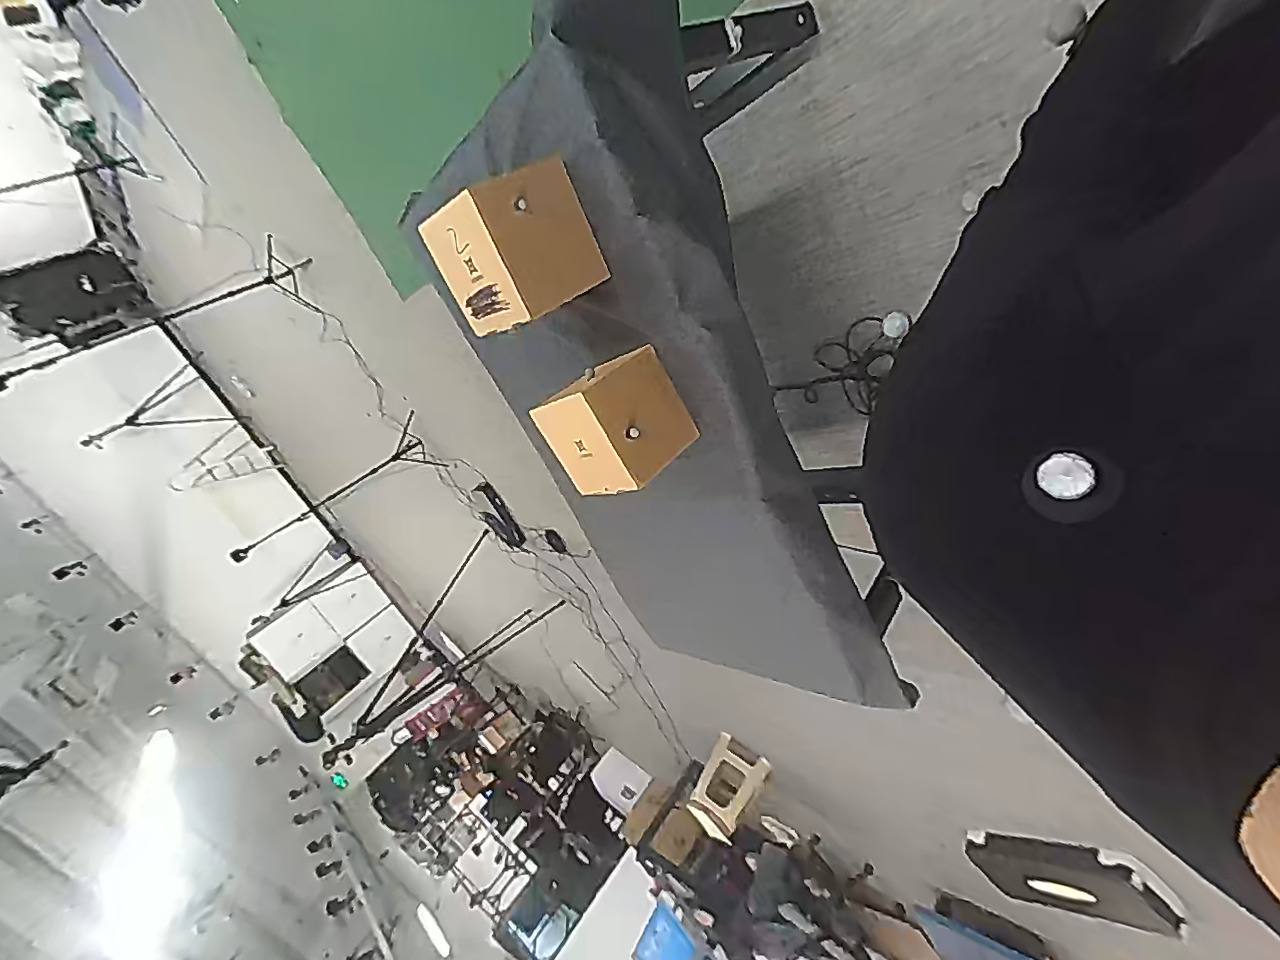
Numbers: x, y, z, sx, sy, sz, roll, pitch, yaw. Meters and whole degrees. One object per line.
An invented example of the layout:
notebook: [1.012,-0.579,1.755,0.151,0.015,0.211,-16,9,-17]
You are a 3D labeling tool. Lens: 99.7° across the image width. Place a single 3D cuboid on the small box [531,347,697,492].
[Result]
small box: [-0.039,-0.101,0.896,0.168,0.176,0.179,-7,120,51]
